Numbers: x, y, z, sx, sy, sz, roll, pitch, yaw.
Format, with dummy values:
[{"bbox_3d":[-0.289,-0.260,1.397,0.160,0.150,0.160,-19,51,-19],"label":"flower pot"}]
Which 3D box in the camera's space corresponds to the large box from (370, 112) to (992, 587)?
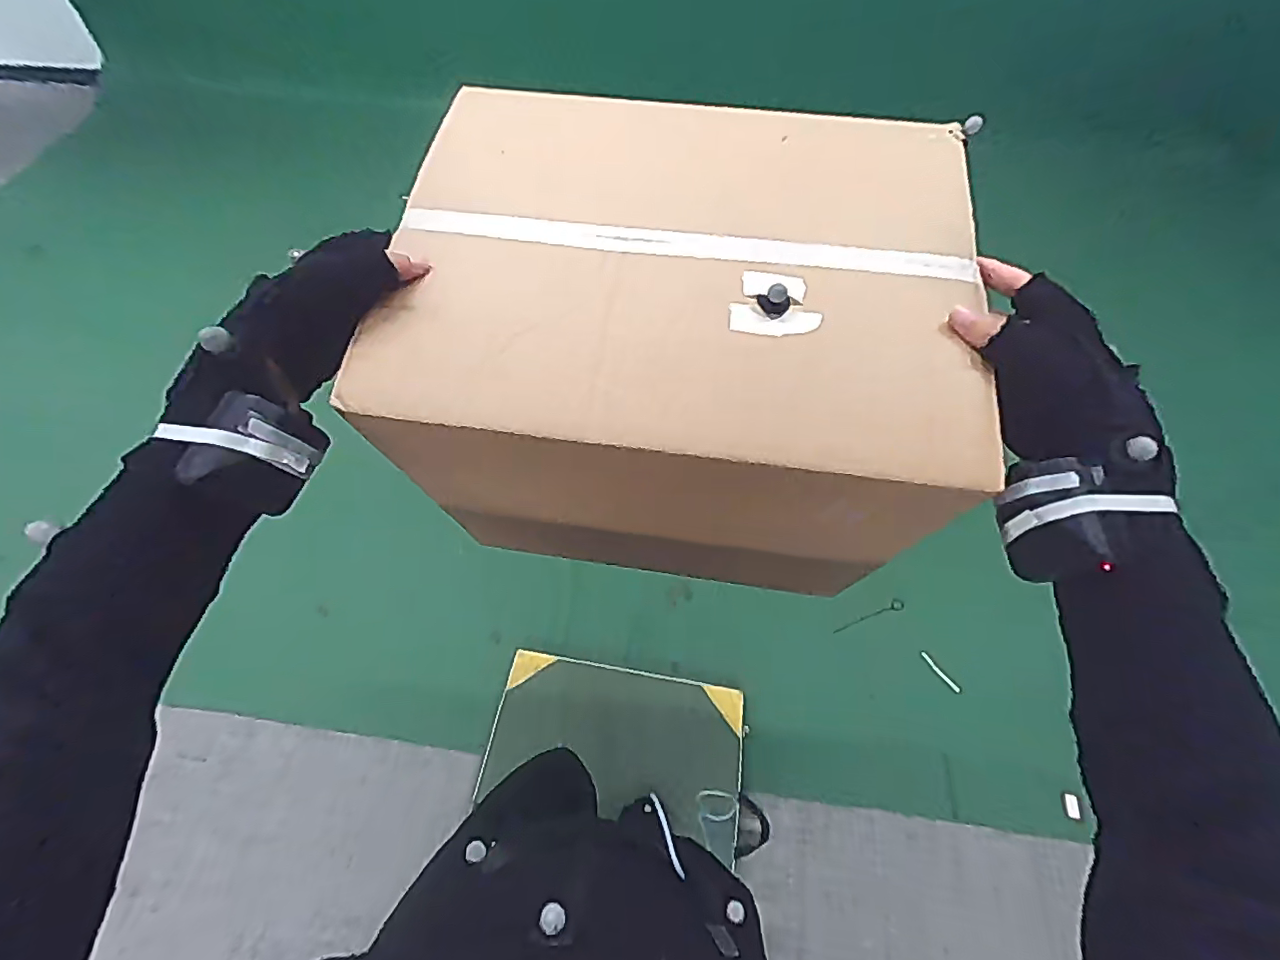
[{"bbox_3d":[0.038,-0.099,0.533,0.408,0.320,0.320,8,67,3],"label":"large box"}]
